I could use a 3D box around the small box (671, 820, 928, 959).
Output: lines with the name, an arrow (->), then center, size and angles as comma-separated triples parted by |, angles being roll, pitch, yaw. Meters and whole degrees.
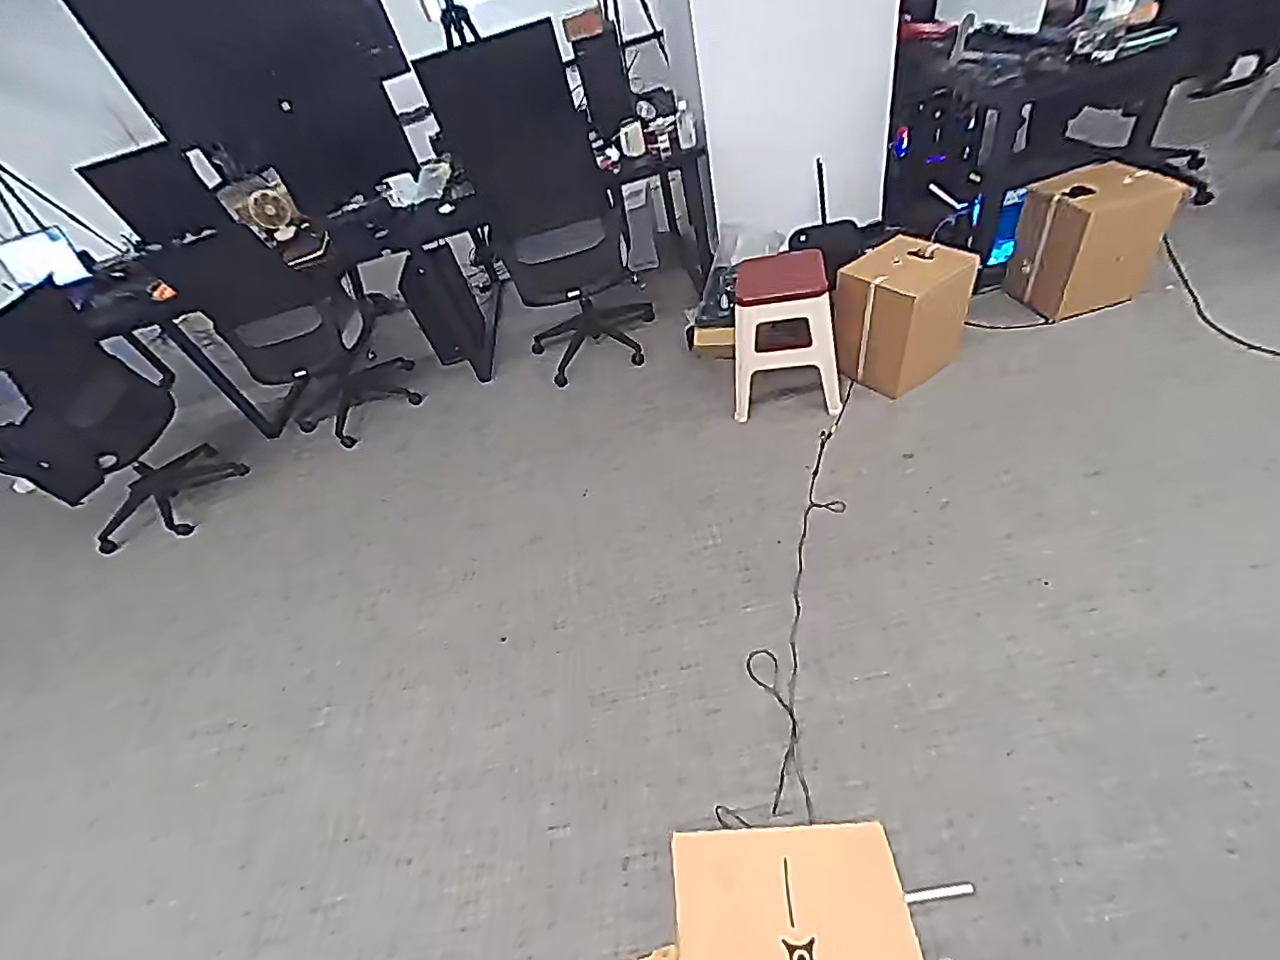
small box -> 0.112, 0.379, 0.405 | 0.168, 0.176, 0.179 | -3, 44, 1
